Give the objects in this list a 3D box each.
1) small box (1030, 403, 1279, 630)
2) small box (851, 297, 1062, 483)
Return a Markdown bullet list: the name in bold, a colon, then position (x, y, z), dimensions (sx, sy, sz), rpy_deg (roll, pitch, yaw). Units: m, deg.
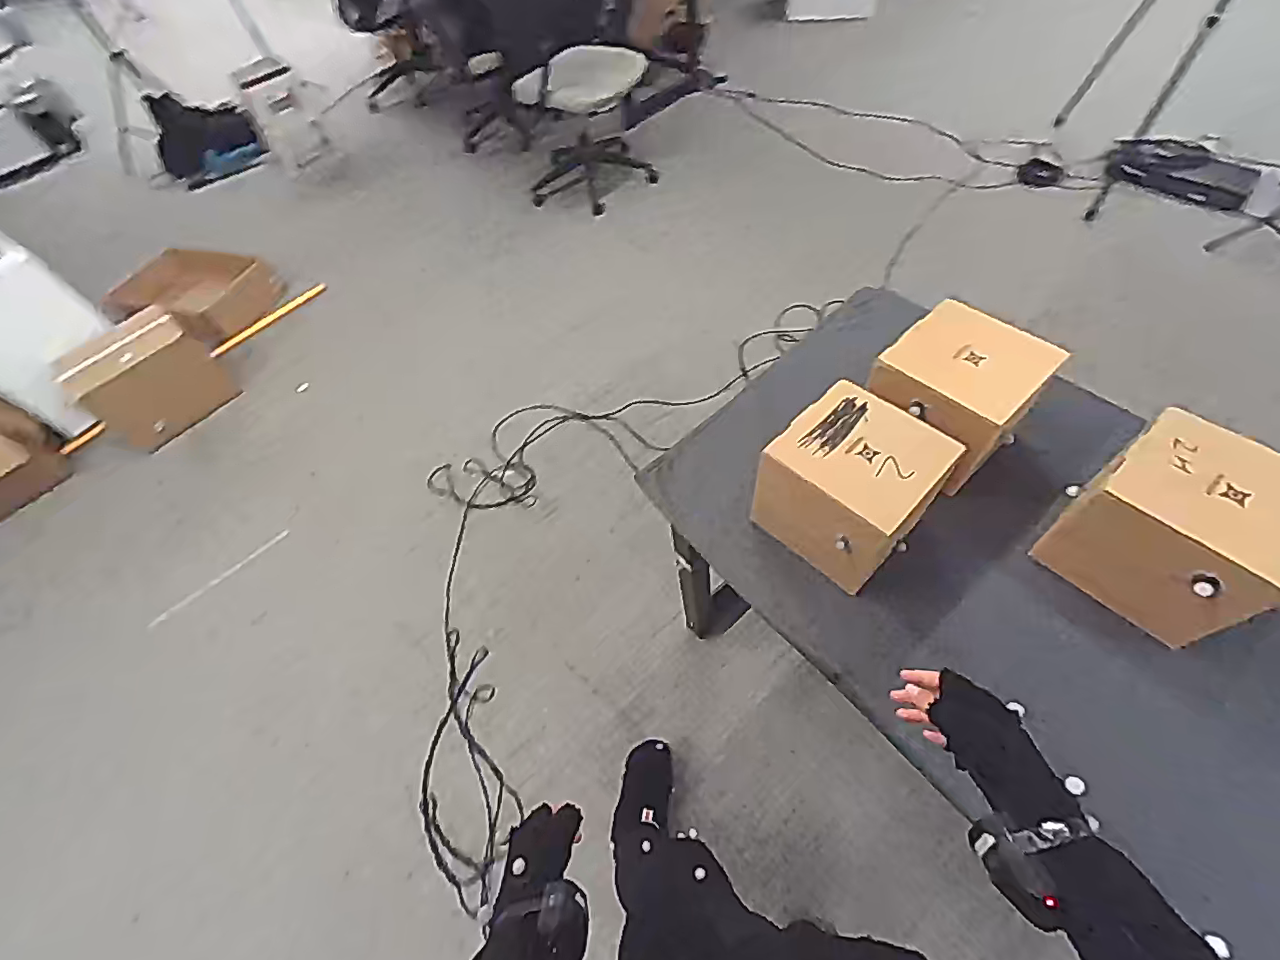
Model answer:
- **small box**: position (0.614, 0.052, 0.628), dimensions (0.168, 0.176, 0.179), rpy_deg (-39, 59, -17)
- **small box**: position (0.435, -0.119, 0.774), dimensions (0.168, 0.176, 0.179), rpy_deg (-40, 59, -17)
